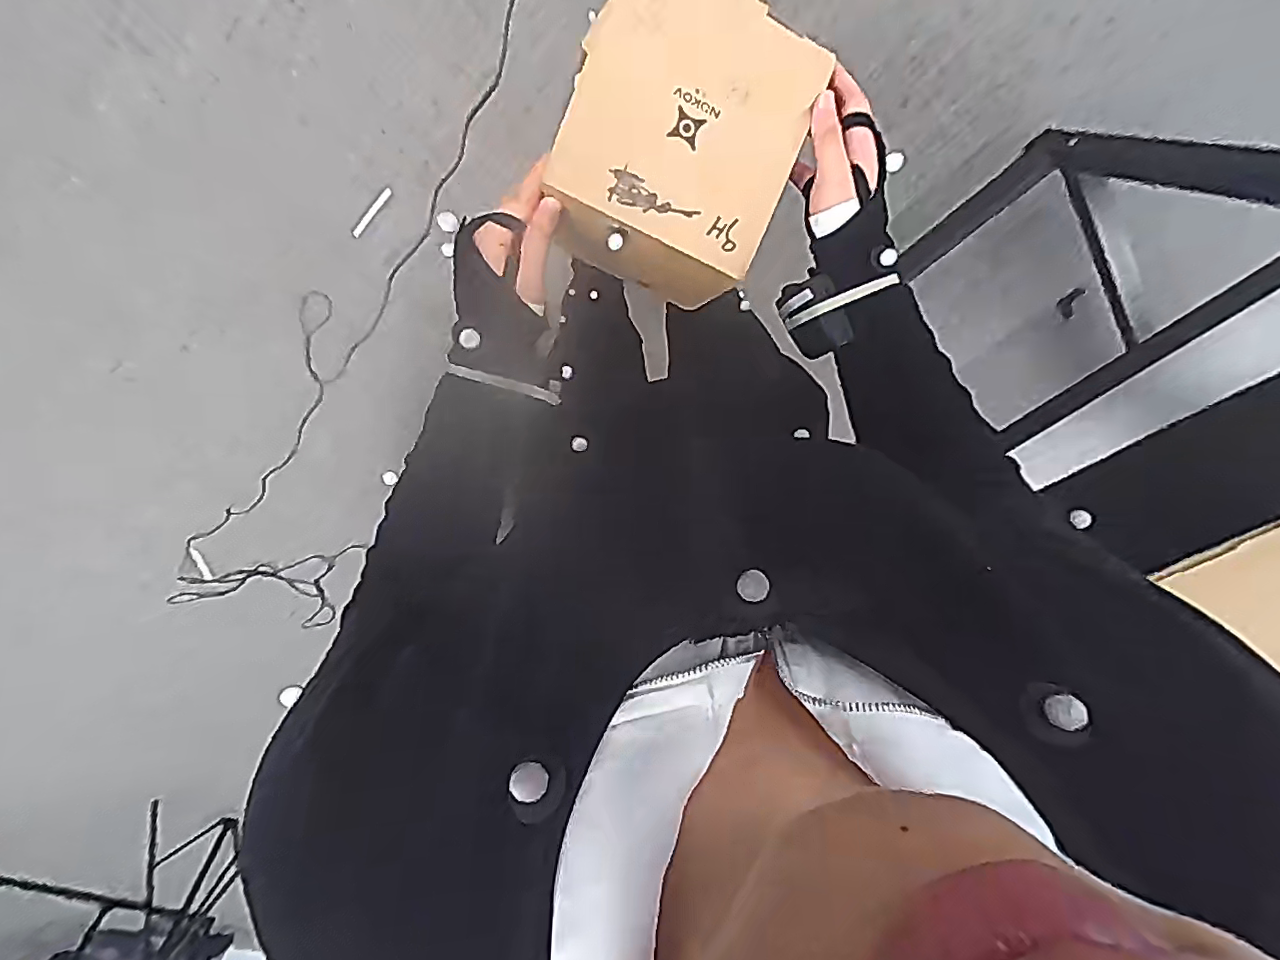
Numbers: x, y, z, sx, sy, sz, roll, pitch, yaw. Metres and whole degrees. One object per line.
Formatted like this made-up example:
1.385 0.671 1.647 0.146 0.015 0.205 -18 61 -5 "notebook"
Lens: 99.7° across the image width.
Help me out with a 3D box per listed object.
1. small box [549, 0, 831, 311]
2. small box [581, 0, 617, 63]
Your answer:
0.028 -0.274 0.475 0.168 0.176 0.179 23 94 -9 "small box"
0.024 -0.695 0.862 0.168 0.176 0.179 33 115 -25 "small box"
